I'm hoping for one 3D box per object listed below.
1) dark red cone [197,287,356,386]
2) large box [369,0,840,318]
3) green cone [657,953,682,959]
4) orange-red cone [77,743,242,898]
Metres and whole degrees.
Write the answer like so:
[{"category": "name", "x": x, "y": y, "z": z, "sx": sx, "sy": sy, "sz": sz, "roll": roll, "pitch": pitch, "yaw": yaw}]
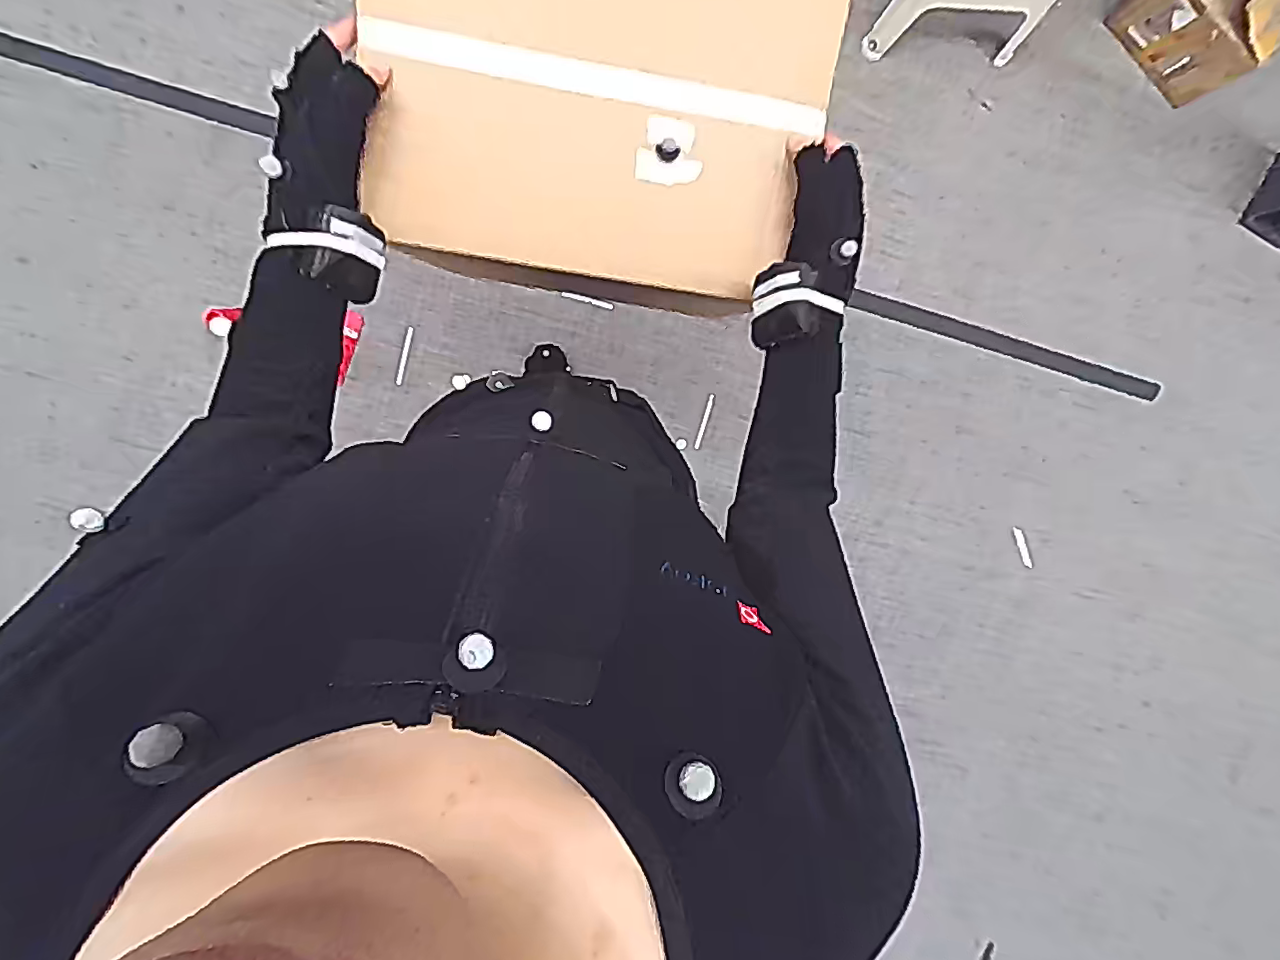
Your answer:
[{"category": "dark red cone", "x": -0.809, "y": -0.331, "z": 1.178, "sx": 0.201, "sy": 0.394, "sz": 0.202, "roll": 21, "pitch": 97, "yaw": -7}, {"category": "large box", "x": -0.046, "y": -0.379, "z": 0.625, "sx": 0.408, "sy": 0.320, "sz": 0.320, "roll": 7, "pitch": 104, "yaw": -6}, {"category": "green cone", "x": 0.079, "y": 1.655, "z": 1.568, "sx": 0.202, "sy": 0.368, "sz": 0.200, "roll": -22, "pitch": 100, "yaw": -1}, {"category": "orange-red cone", "x": -1.235, "y": 0.883, "z": 1.371, "sx": 0.198, "sy": 0.360, "sz": 0.199, "roll": 13, "pitch": 99, "yaw": -4}]
